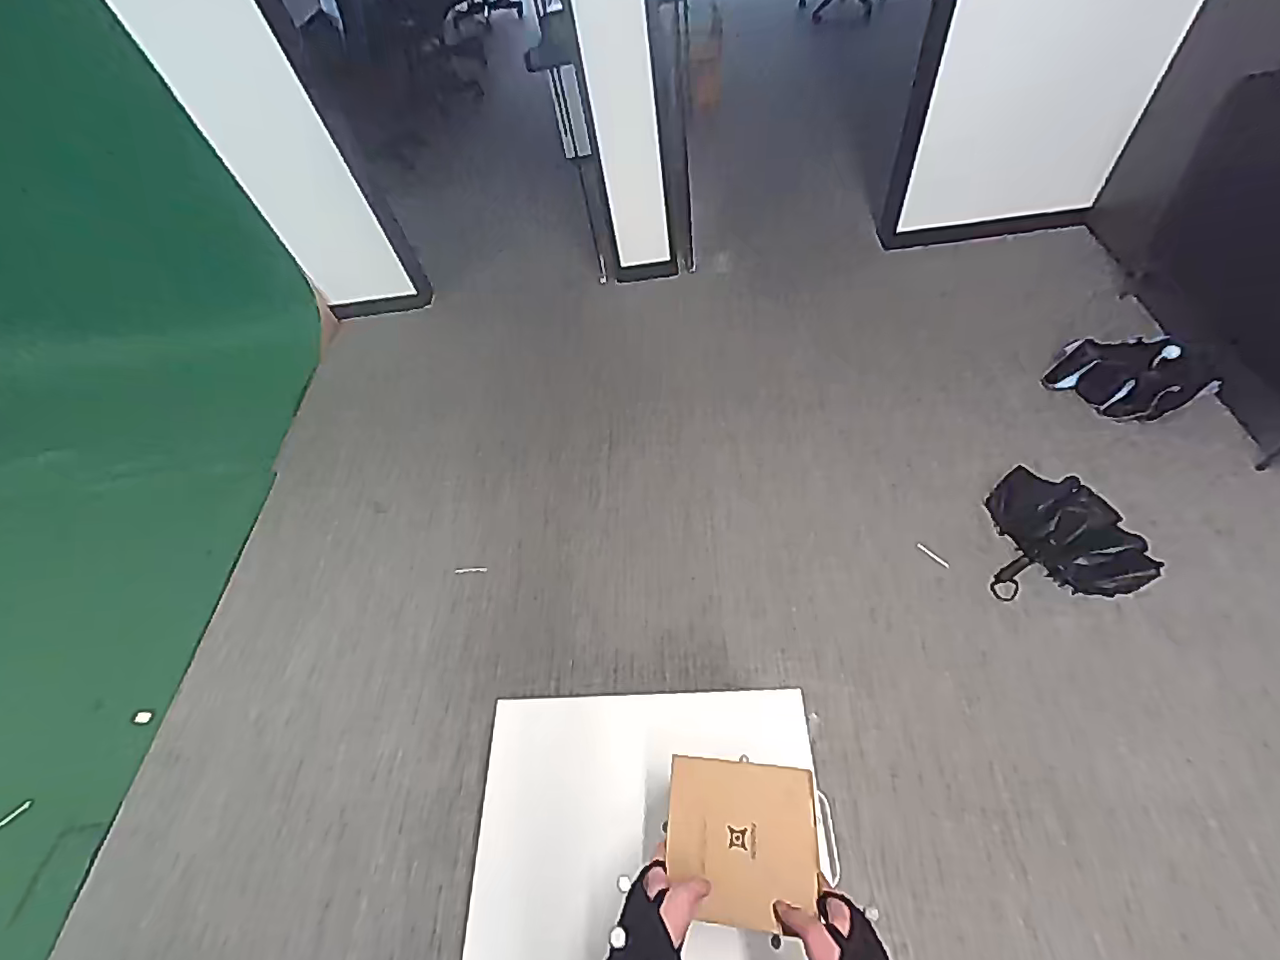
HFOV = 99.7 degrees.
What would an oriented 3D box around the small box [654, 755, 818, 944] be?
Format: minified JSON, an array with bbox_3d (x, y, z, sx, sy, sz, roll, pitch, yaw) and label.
[{"bbox_3d":[0.120,0.466,0.688,0.179,0.176,0.168,1,52,10],"label":"small box"}]
